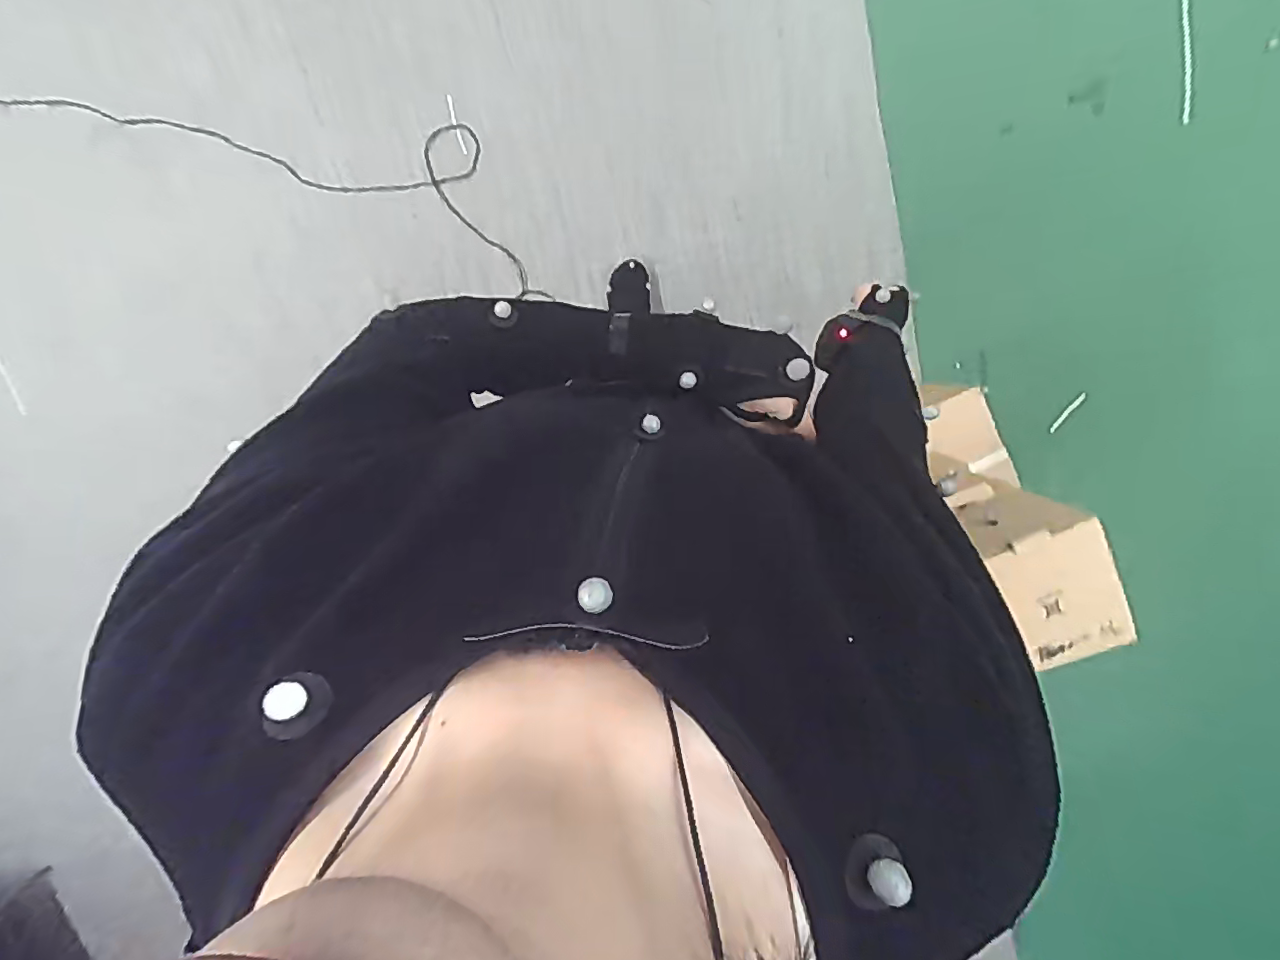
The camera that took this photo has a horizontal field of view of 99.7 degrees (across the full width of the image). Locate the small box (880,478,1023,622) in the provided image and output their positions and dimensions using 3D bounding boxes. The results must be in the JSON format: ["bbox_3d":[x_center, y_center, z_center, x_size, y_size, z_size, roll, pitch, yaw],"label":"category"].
[{"bbox_3d":[0.534,0.106,0.915,0.168,0.176,0.179,-22,99,9],"label":"small box"}]

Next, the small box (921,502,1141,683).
[{"bbox_3d":[0.525,0.141,0.754,0.168,0.176,0.179,-23,97,10],"label":"small box"}]
